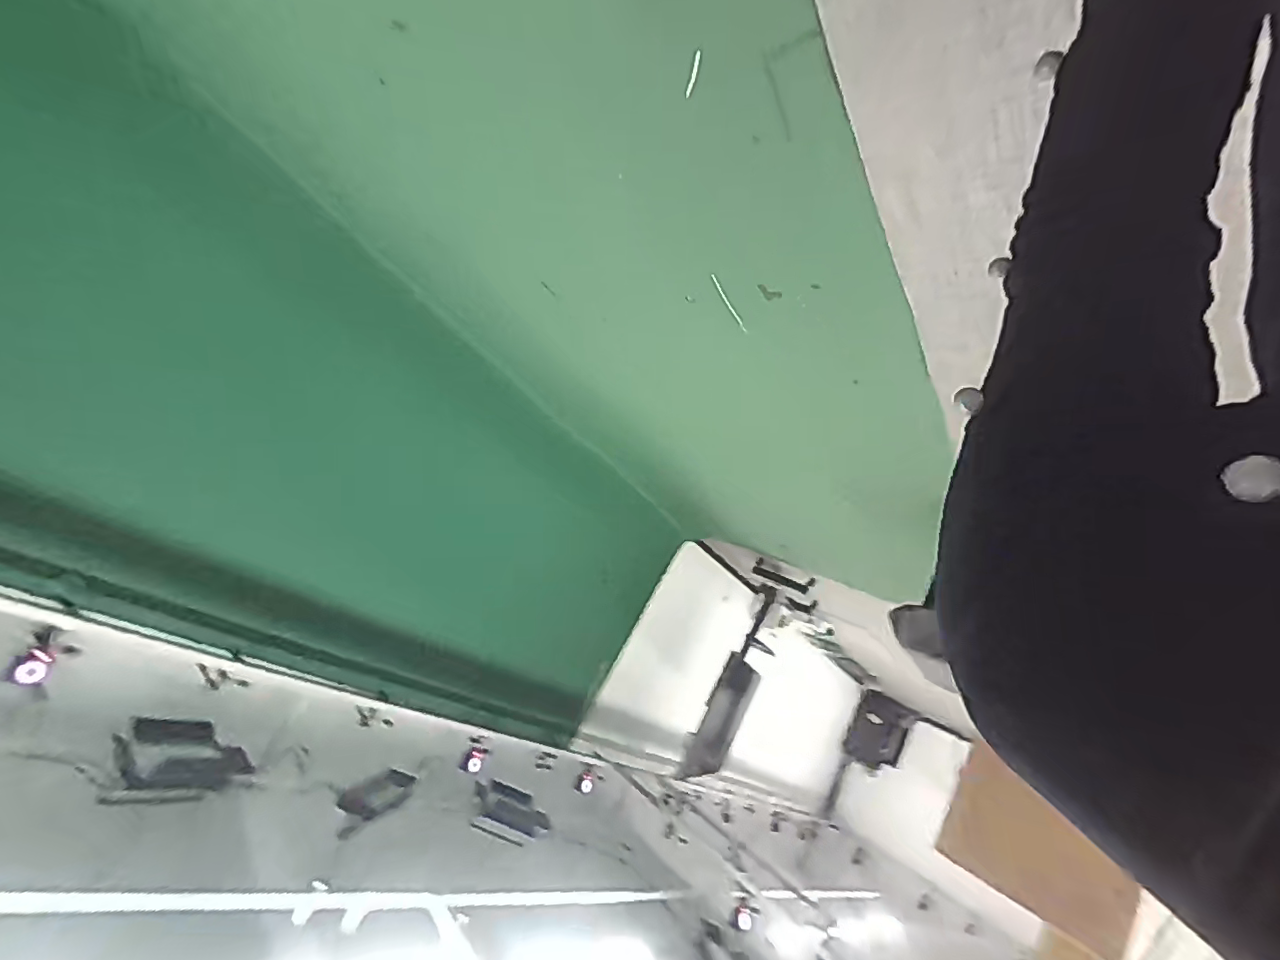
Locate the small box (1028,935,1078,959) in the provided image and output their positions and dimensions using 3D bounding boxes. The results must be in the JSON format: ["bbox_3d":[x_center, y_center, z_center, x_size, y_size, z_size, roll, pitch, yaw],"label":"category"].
[{"bbox_3d":[1.328,1.587,1.710,0.168,0.176,0.179,15,156,46],"label":"small box"}]
